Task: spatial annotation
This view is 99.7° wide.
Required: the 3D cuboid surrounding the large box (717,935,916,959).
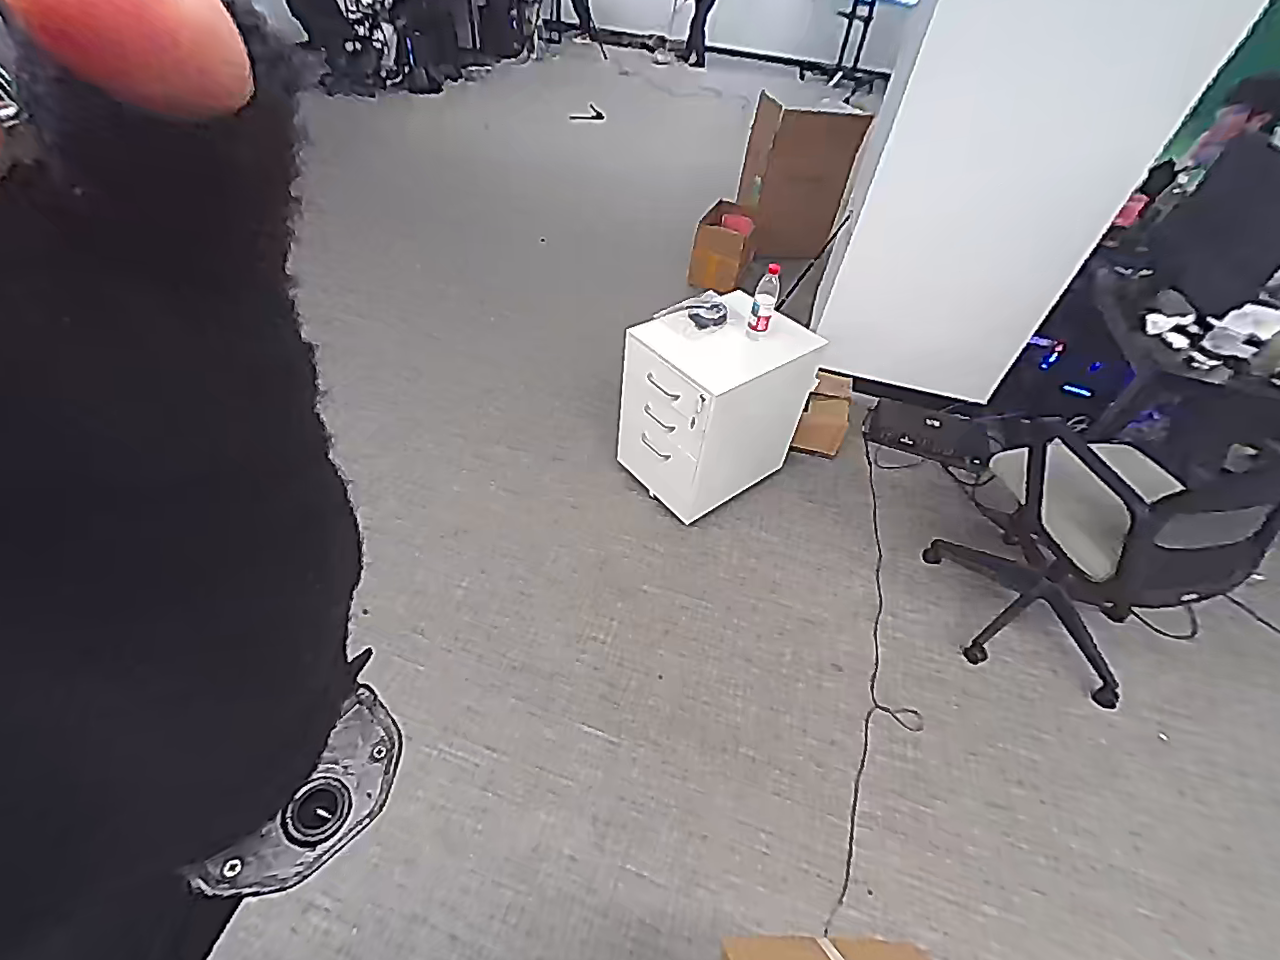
[{"bbox_3d":[0.273,0.805,0.590,0.320,0.408,0.320,9,78,-7],"label":"large box"}]
